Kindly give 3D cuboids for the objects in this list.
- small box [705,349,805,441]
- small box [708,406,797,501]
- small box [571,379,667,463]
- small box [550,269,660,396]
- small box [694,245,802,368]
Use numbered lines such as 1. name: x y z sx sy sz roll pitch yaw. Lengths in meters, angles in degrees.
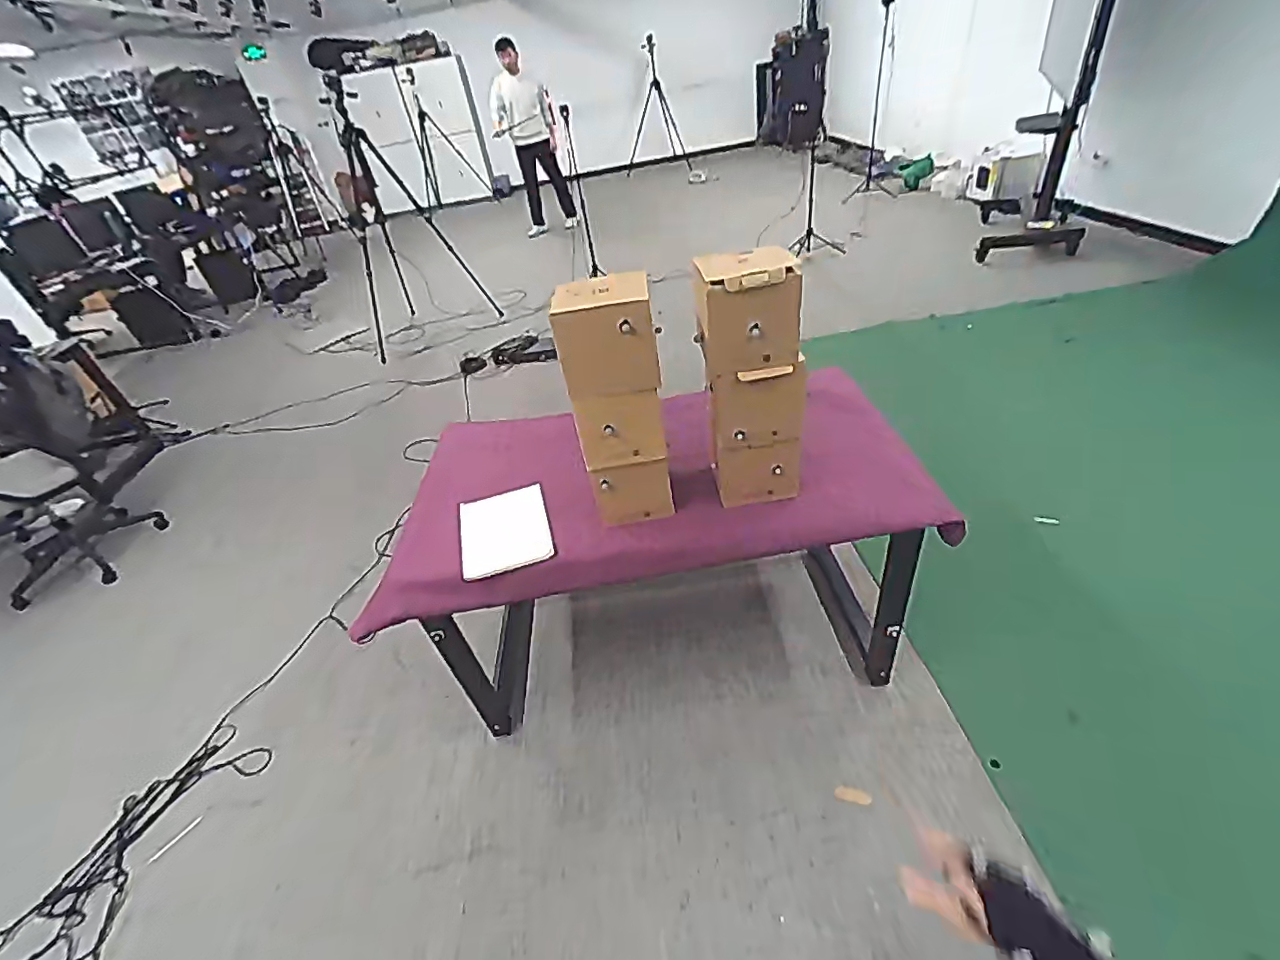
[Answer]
1. small box: 0.233 -0.192 1.114 0.168 0.176 0.179 -9 37 1
2. small box: 0.250 -0.066 1.217 0.168 0.176 0.179 -8 37 2
3. small box: -0.040 -0.148 1.121 0.168 0.176 0.179 -9 37 3
4. small box: -0.055 -0.275 1.015 0.179 0.176 0.168 -8 36 5
5. small box: 0.198 -0.319 1.015 0.168 0.176 0.179 -7 38 2
